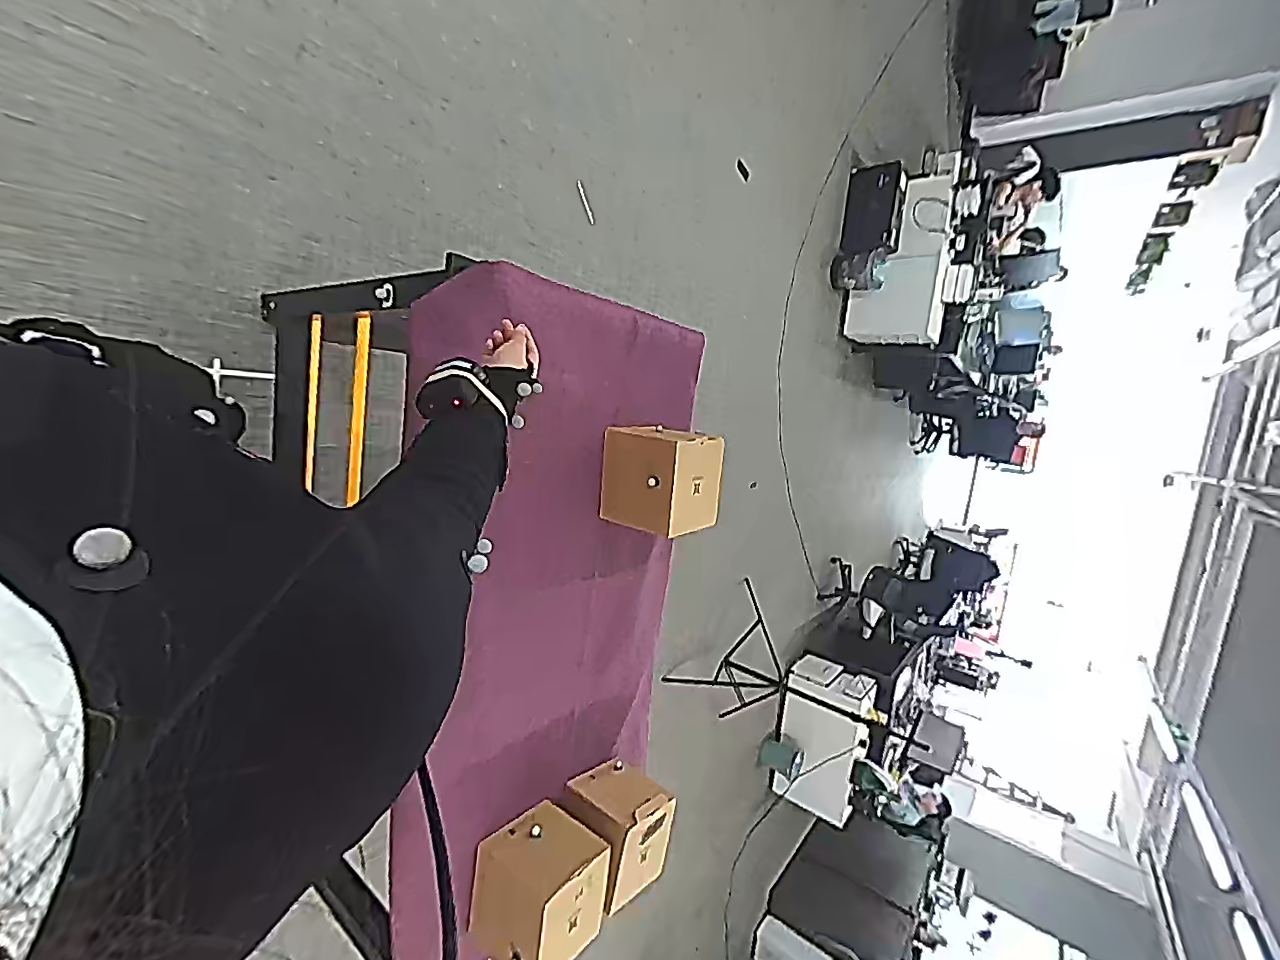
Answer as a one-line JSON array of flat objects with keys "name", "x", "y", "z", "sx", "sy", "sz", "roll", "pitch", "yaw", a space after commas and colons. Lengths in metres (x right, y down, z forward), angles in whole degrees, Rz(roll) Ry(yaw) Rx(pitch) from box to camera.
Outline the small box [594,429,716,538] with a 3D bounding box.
[{"name": "small box", "x": 0.026, "y": -0.001, "z": 1.048, "sx": 0.168, "sy": 0.176, "sz": 0.179, "roll": -8, "pitch": 106, "yaw": -53}]

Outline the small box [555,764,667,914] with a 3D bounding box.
[{"name": "small box", "x": -0.071, "y": 0.718, "z": 1.114, "sx": 0.168, "sy": 0.176, "sz": 0.179, "roll": 8, "pitch": 94, "yaw": -52}]

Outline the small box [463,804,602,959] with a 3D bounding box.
[{"name": "small box", "x": -0.191, "y": 0.723, "z": 0.953, "sx": 0.168, "sy": 0.176, "sz": 0.179, "roll": 0, "pitch": 98, "yaw": -55}]
